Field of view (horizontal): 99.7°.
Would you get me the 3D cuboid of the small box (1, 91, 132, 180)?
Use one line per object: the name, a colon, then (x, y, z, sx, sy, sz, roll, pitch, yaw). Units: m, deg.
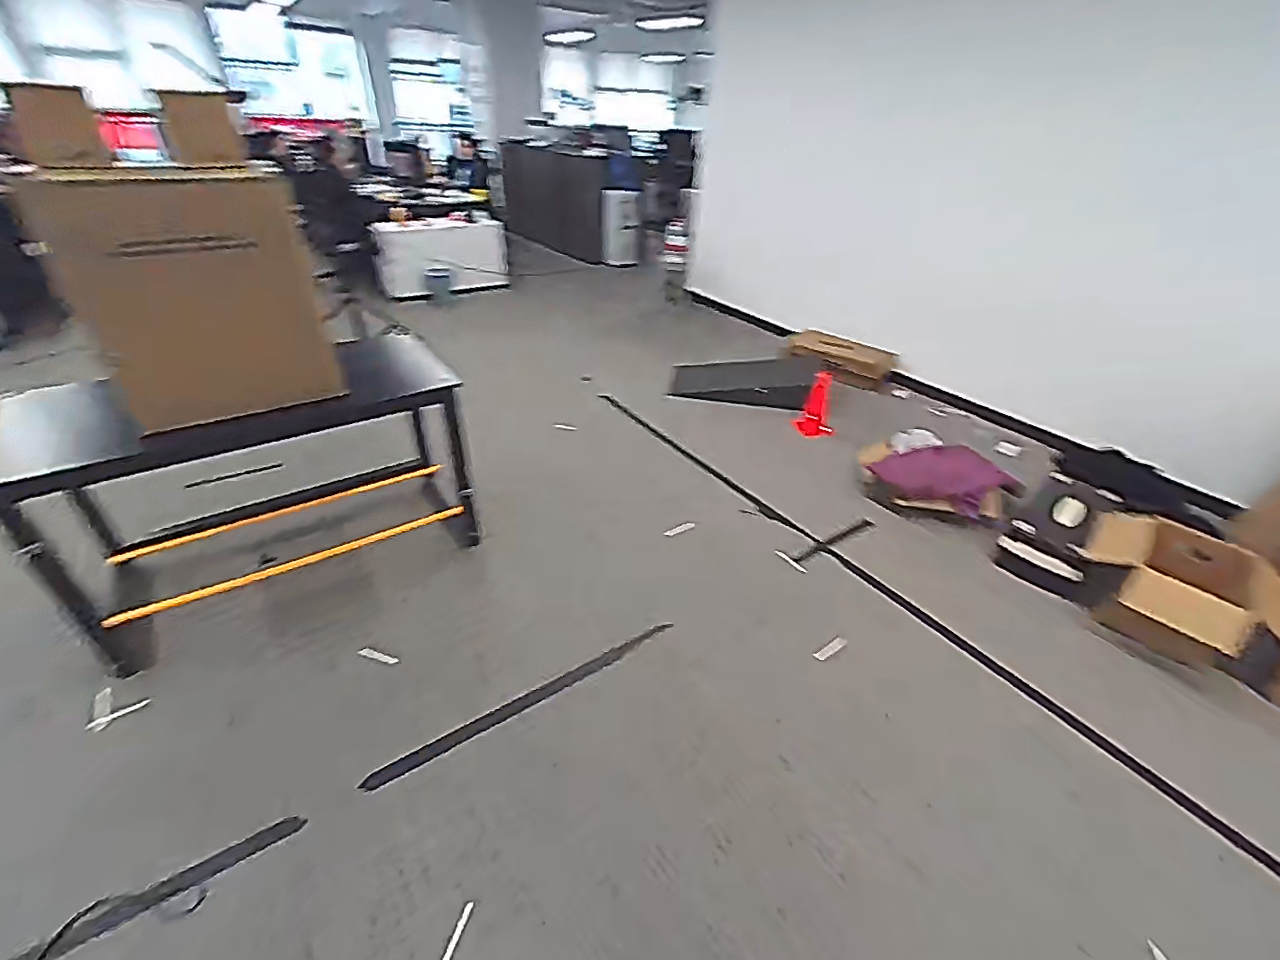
small box: (-1.384, -0.839, 1.320, 0.168, 0.176, 0.179, -22, 41, -31)

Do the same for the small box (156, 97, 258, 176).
small box: (-1.157, -0.918, 1.448, 0.168, 0.176, 0.179, -23, 41, -30)
